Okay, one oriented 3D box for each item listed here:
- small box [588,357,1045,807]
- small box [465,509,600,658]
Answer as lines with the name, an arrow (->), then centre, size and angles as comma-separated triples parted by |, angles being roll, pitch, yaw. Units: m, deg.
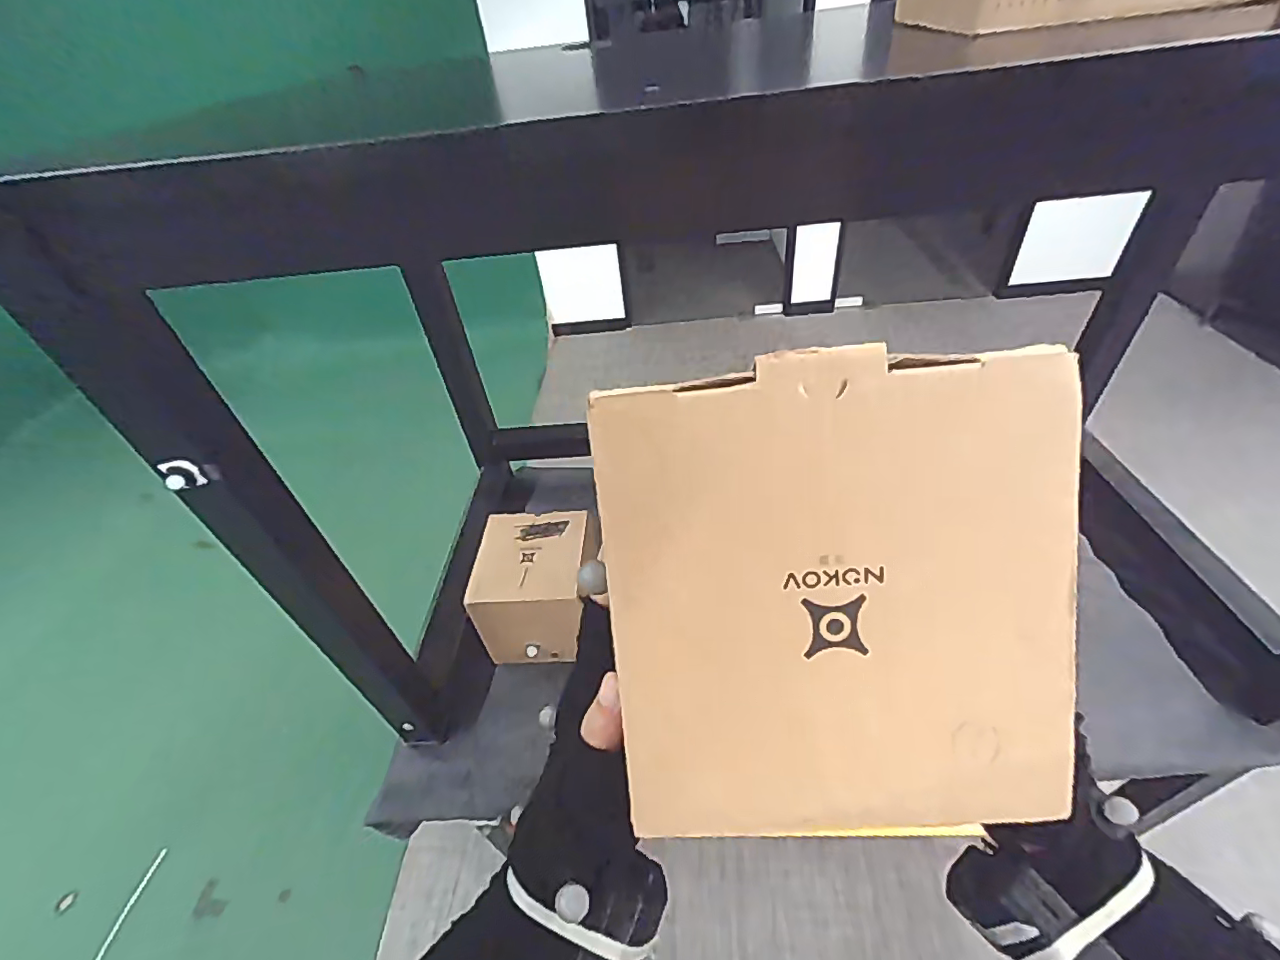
small box -> 0.073, 0.035, 0.287 | 0.168, 0.179, 0.176 | -5, 7, 4
small box -> -0.161, 0.167, 0.879 | 0.168, 0.176, 0.179 | -3, 42, 5
